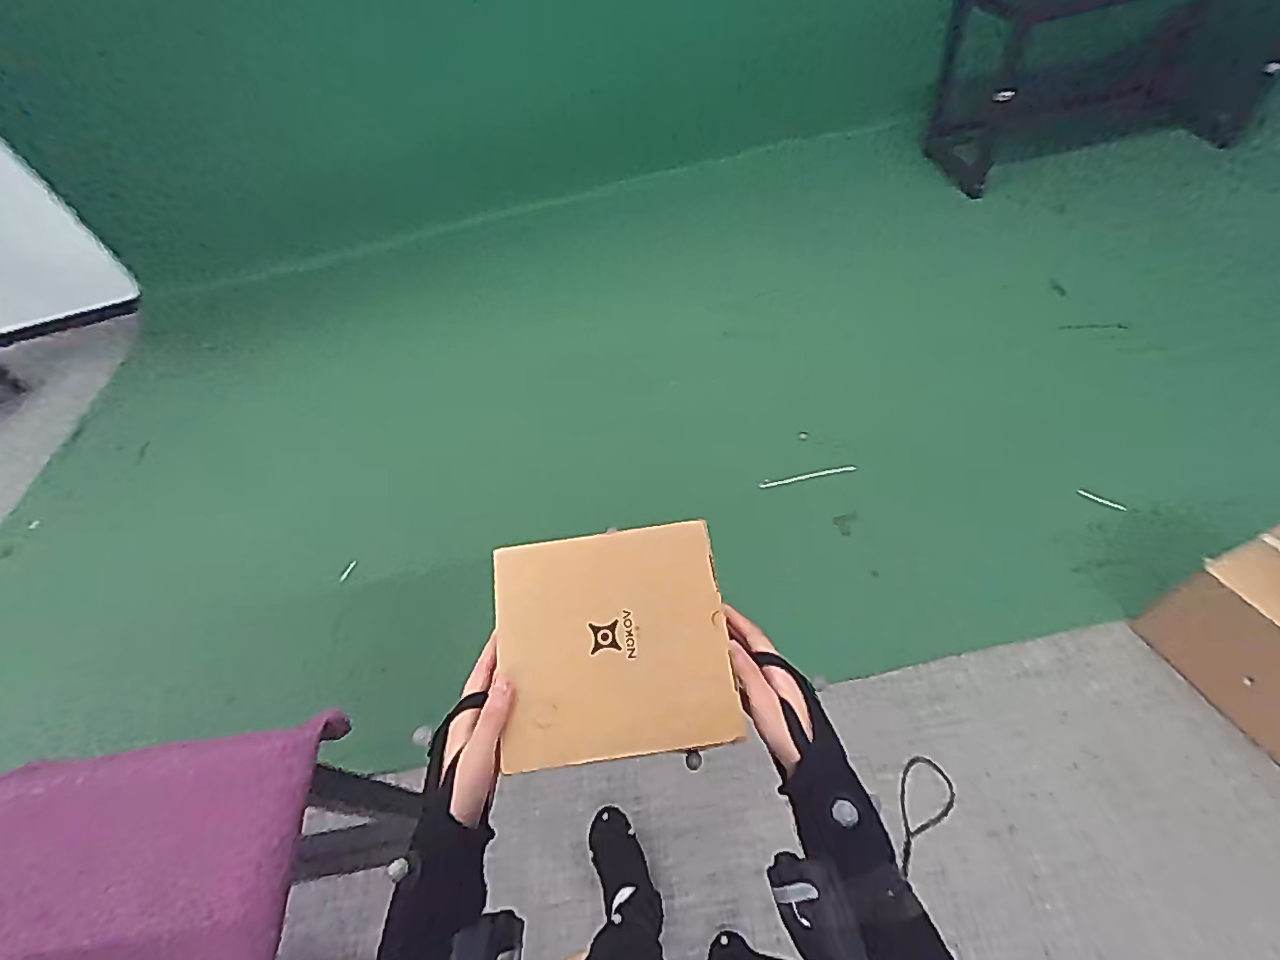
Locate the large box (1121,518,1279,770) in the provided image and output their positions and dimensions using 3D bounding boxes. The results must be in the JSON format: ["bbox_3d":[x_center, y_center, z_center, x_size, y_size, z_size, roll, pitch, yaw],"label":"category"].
[{"bbox_3d":[1.398,0.353,1.149,0.320,0.320,0.408,-23,50,-7],"label":"large box"}]

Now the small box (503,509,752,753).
[{"bbox_3d":[-0.012,0.140,0.478,0.179,0.176,0.168,-7,66,-1],"label":"small box"}]
